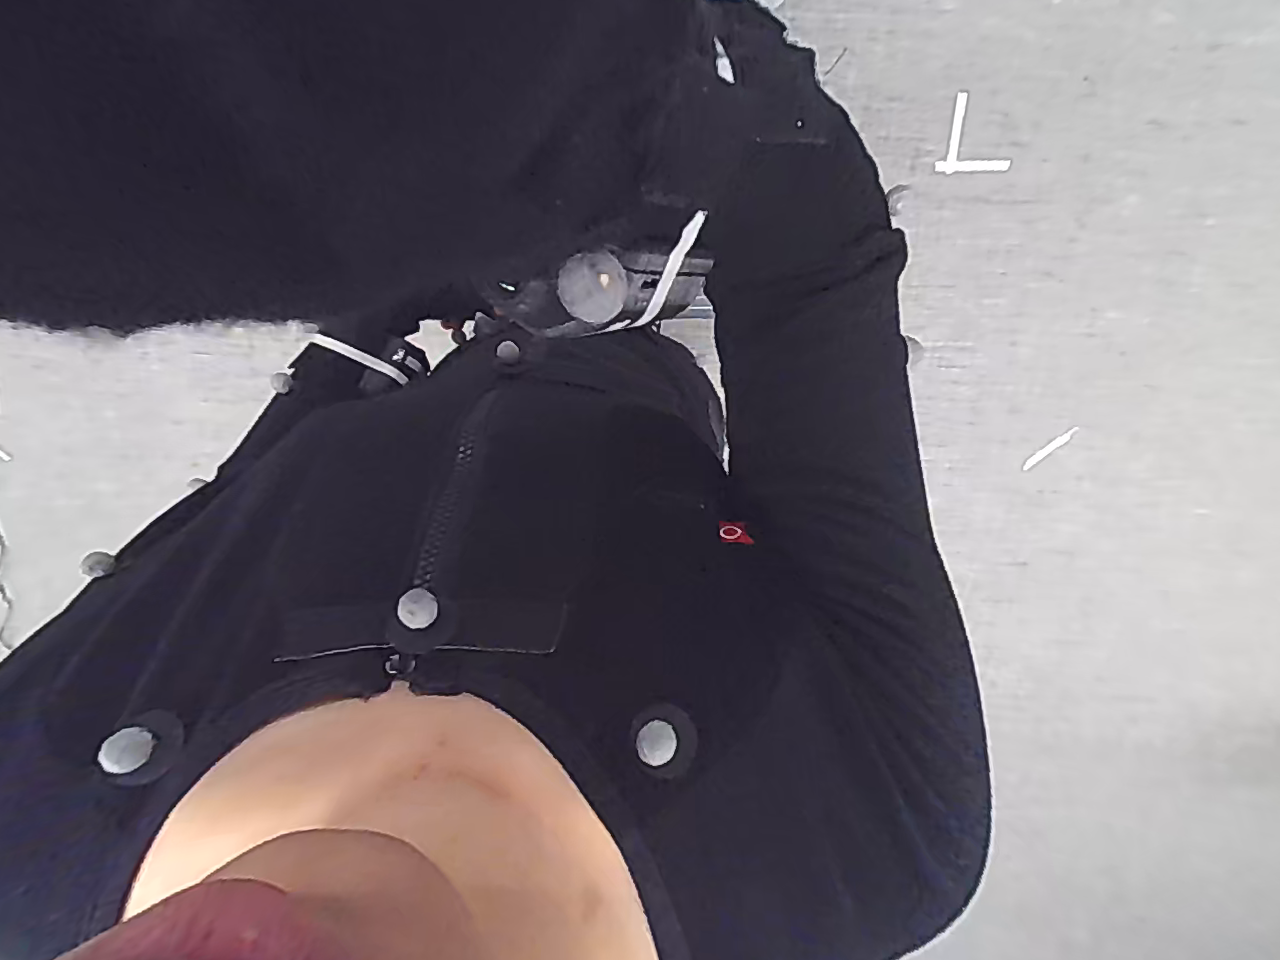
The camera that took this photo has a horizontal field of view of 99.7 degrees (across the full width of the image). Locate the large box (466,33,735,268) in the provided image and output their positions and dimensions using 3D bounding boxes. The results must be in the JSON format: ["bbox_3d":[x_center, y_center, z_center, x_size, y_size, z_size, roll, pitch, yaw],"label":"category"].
[{"bbox_3d":[-0.061,-0.561,0.985,0.408,0.320,0.320,-2,111,-2],"label":"large box"}]
